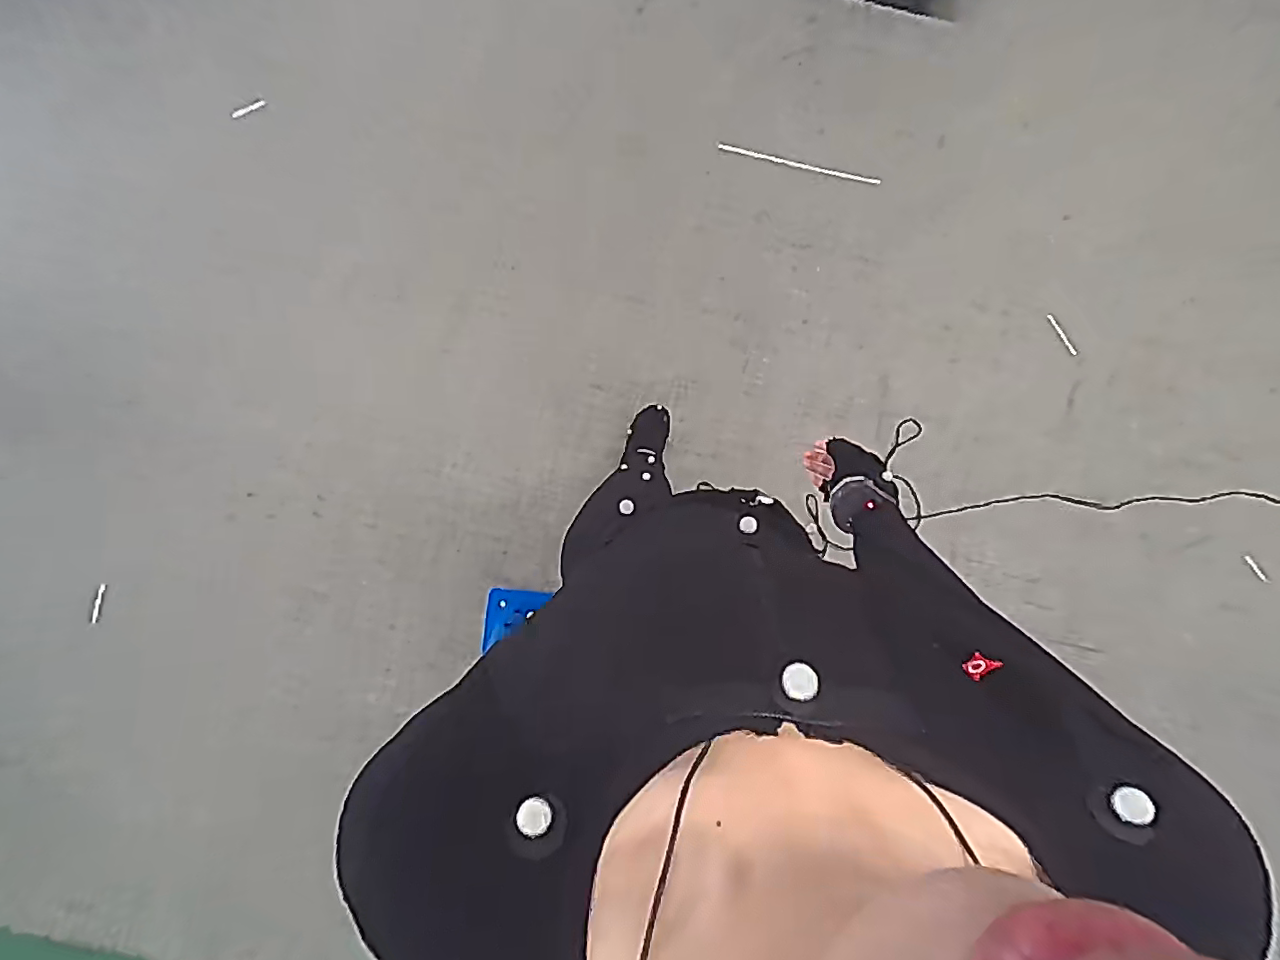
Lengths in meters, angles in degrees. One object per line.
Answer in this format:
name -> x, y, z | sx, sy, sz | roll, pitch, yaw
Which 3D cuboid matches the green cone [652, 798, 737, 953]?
green cone -> 0.156, 0.966, 1.285 | 0.200, 0.368, 0.202 | 15, 86, -2
